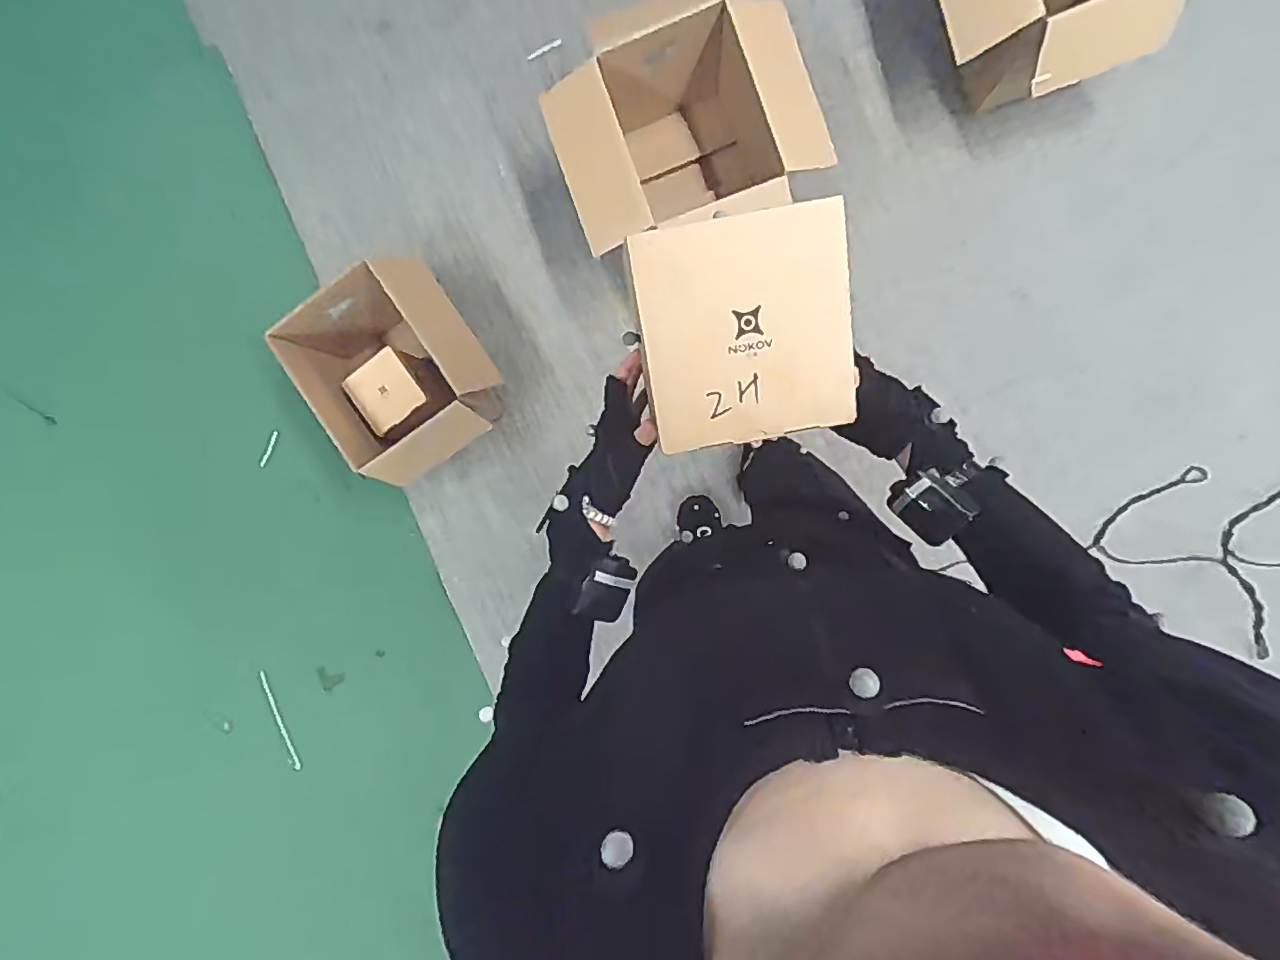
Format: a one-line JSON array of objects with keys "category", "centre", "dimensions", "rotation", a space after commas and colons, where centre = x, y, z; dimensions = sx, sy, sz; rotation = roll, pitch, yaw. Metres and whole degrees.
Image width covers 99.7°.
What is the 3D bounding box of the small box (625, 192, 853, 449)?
[{"category": "small box", "centre": [0.080, -0.142, 0.502], "dimensions": [0.168, 0.176, 0.179], "rotation": [-10, 108, 1]}]
